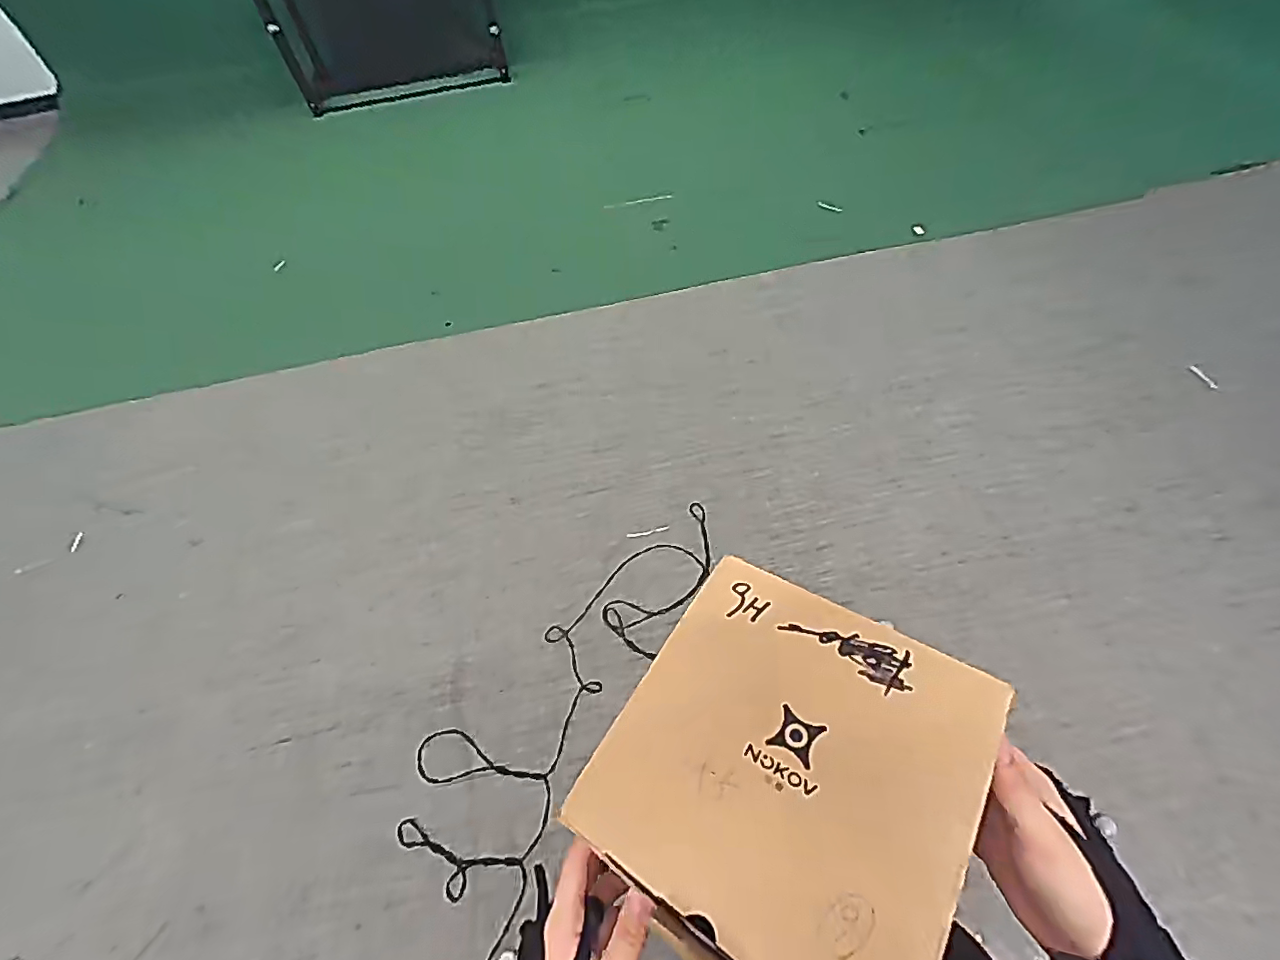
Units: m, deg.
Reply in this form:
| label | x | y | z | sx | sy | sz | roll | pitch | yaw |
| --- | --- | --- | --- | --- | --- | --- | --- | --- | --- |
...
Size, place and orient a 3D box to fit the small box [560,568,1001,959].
| label | x | y | z | sx | sy | sz | roll | pitch | yaw |
| --- | --- | --- | --- | --- | --- | --- | --- | --- | --- |
| small box | 0.085 | 0.194 | 0.334 | 0.168 | 0.176 | 0.179 | 23 | 59 | 28 |
